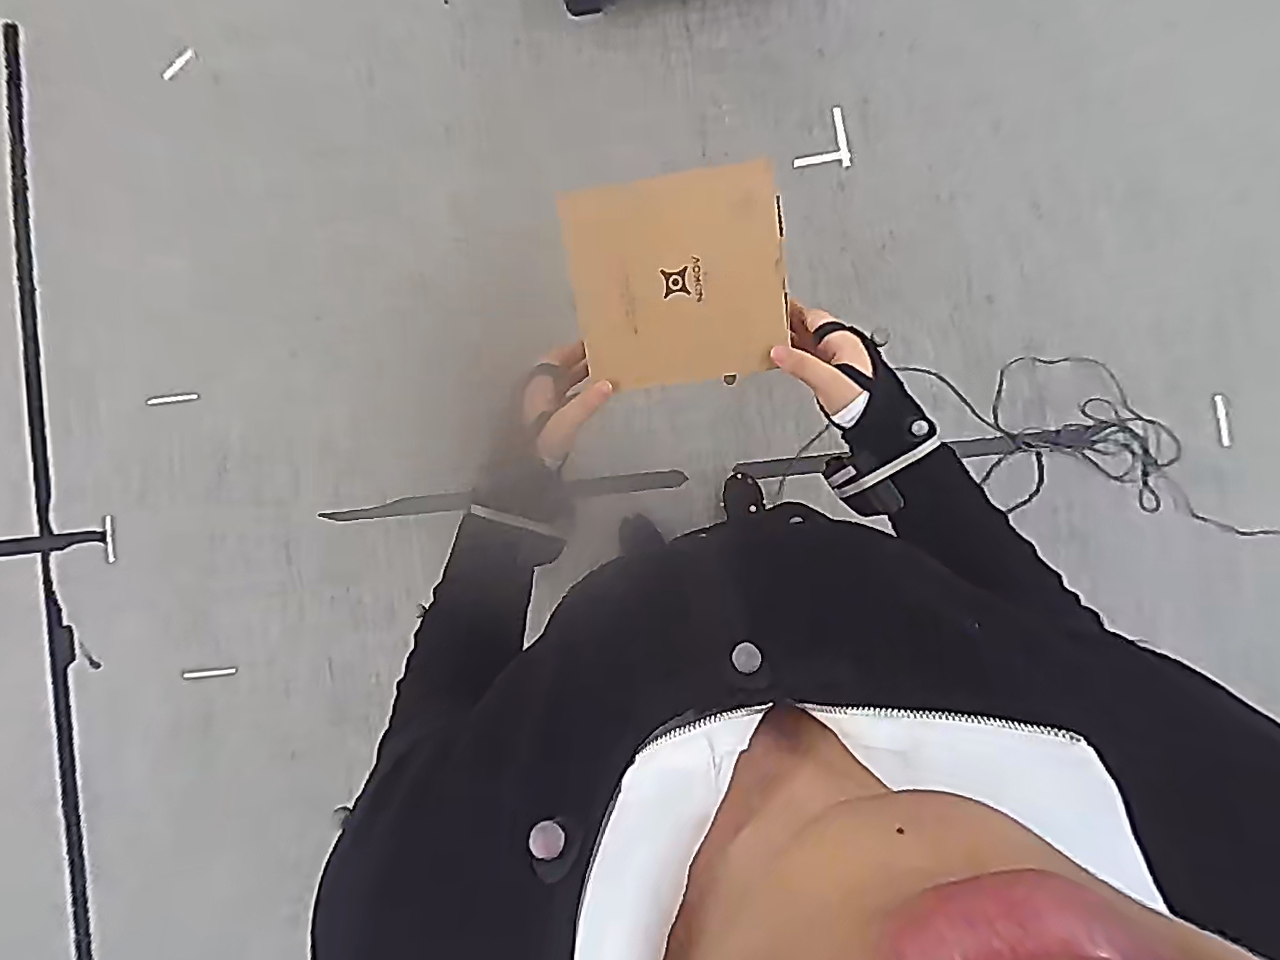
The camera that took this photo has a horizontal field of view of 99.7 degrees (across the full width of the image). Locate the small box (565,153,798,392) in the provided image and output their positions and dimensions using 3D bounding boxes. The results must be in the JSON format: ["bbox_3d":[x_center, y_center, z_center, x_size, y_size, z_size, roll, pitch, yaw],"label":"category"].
[{"bbox_3d":[0.037,-0.184,0.518,0.179,0.176,0.168,-9,103,3],"label":"small box"}]
